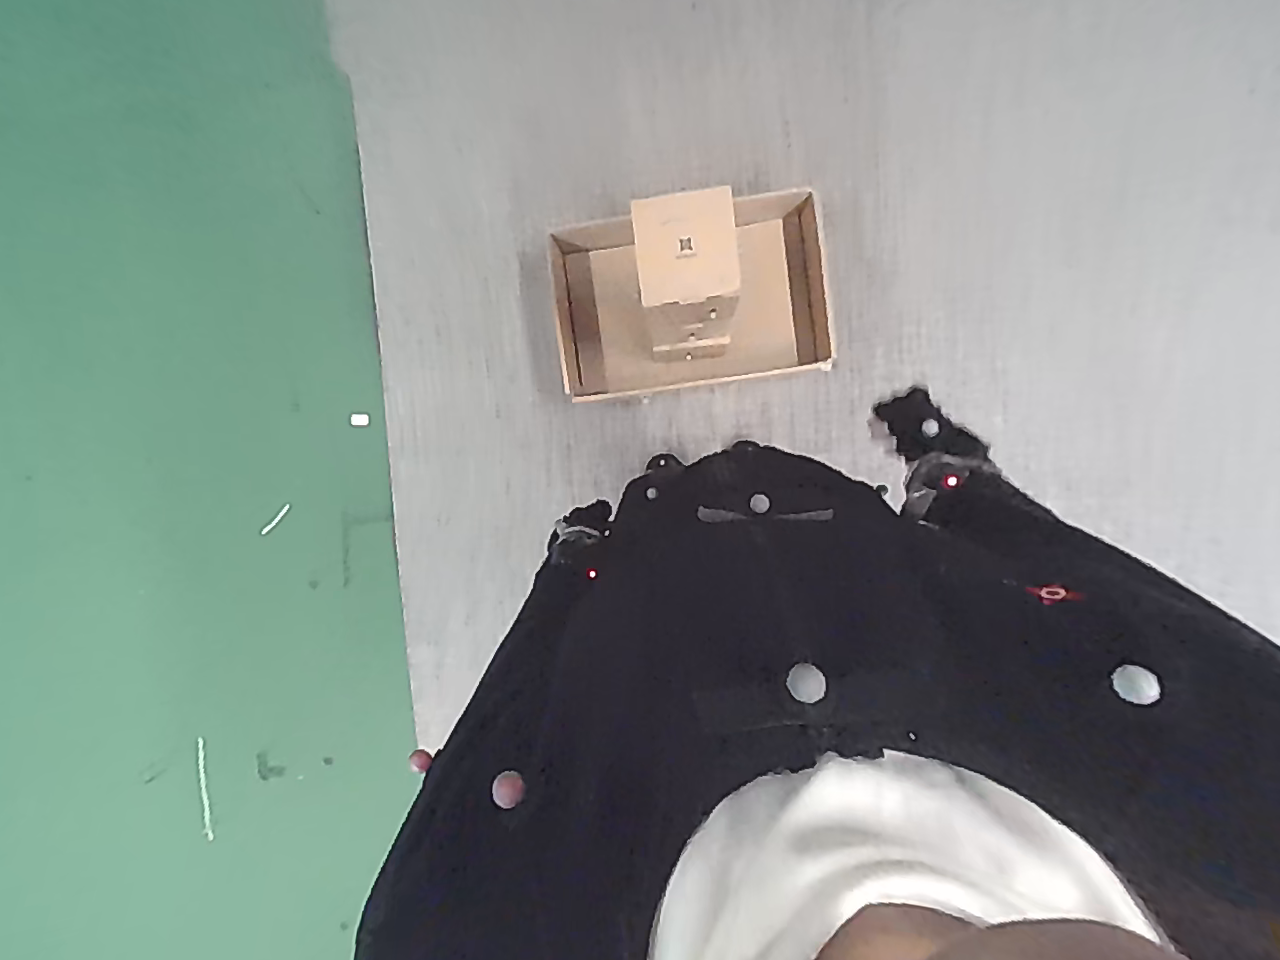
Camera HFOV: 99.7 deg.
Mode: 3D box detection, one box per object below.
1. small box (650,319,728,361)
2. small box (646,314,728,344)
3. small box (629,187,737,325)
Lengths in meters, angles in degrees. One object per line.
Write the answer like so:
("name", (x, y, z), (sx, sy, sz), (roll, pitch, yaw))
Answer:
("small box", (0.113, -0.387, 1.302), (0.179, 0.176, 0.168), (-4, 92, 6))
("small box", (0.092, -0.395, 1.143), (0.168, 0.176, 0.179), (-9, 92, 6))
("small box", (0.077, -0.385, 0.962), (0.168, 0.176, 0.179), (-6, 91, 4))
